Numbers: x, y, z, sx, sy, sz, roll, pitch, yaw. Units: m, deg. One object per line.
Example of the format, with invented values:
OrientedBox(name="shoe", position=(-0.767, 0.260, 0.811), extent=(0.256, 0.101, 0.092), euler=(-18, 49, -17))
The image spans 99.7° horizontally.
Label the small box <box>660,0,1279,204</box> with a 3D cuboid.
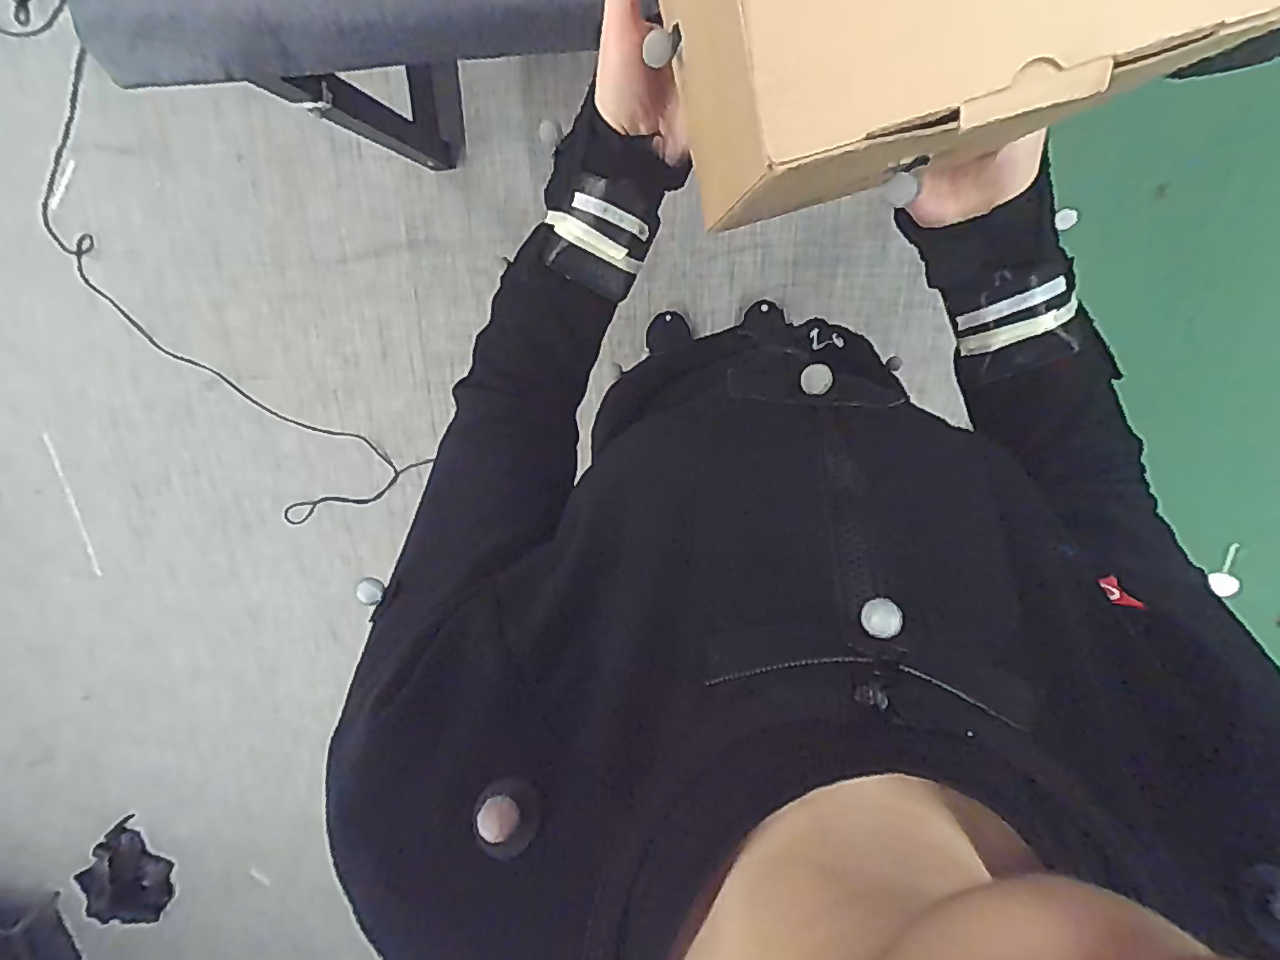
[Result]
OrientedBox(name="small box", position=(0.095, -0.225, 0.213), extent=(0.168, 0.176, 0.179), euler=(-15, 109, 6))
